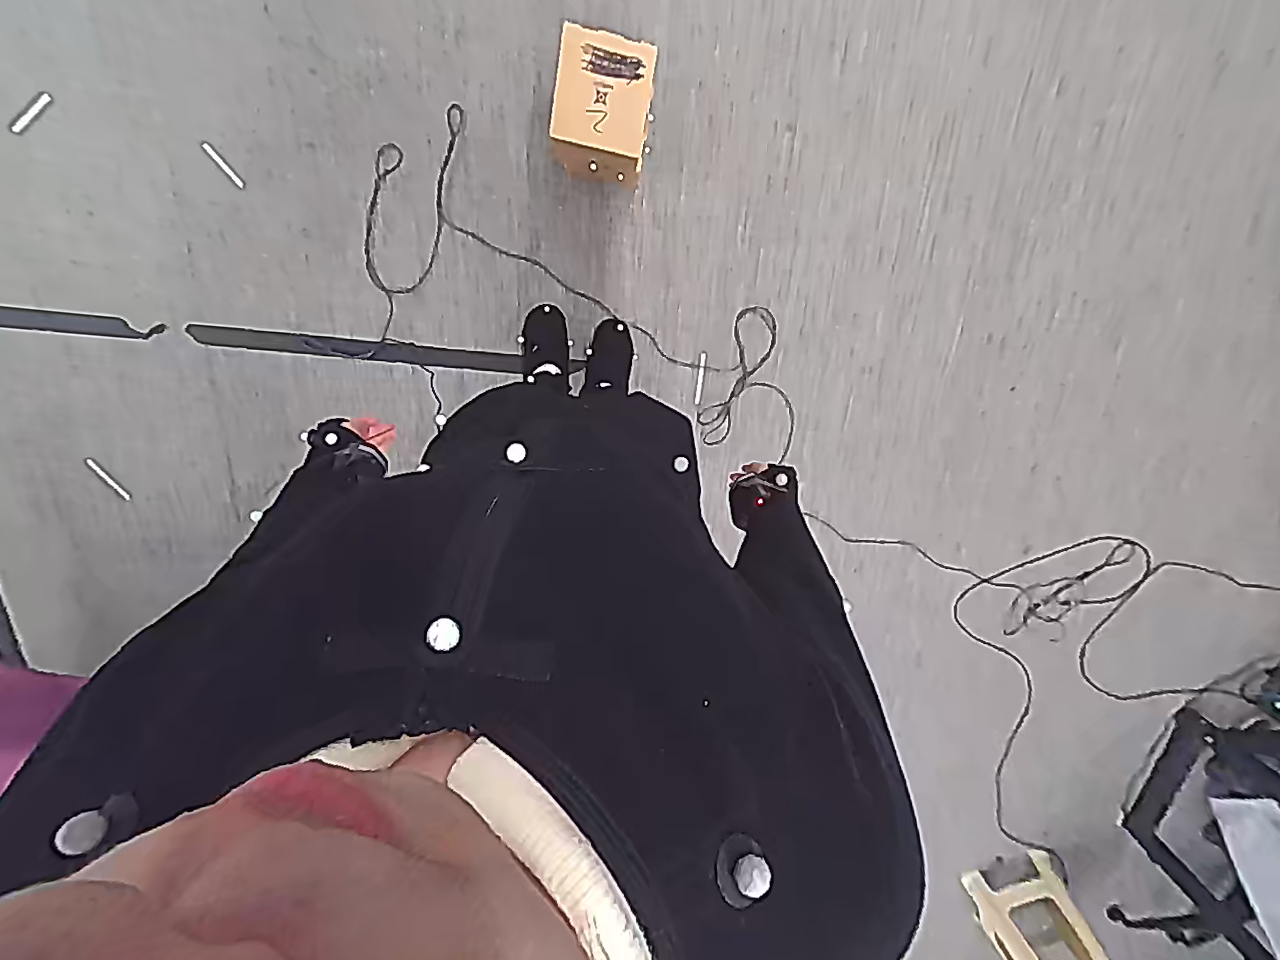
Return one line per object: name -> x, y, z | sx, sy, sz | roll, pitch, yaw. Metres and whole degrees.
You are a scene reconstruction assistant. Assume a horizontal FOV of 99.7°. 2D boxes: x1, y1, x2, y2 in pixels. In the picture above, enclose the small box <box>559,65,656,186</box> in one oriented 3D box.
small box -> -0.070, -0.755, 1.173 | 0.179, 0.176, 0.168 | 9, 109, -6
